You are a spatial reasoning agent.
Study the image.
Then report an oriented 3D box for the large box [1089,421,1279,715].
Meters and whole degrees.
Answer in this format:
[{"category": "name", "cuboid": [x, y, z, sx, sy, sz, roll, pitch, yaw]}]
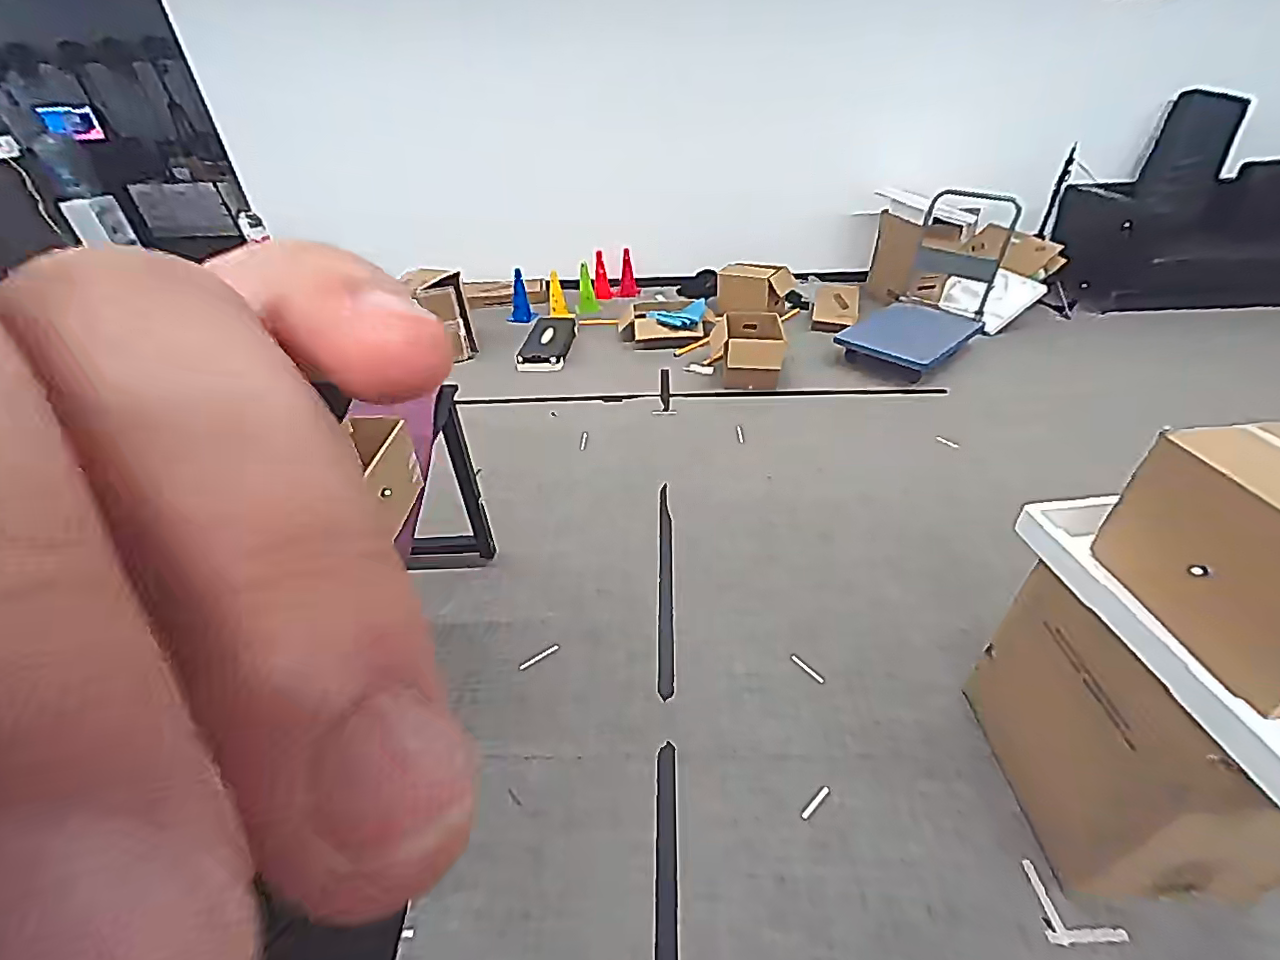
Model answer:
[{"category": "large box", "cuboid": [1.138, 0.135, 0.948, 0.320, 0.320, 0.408, -3, 36, -2]}]
